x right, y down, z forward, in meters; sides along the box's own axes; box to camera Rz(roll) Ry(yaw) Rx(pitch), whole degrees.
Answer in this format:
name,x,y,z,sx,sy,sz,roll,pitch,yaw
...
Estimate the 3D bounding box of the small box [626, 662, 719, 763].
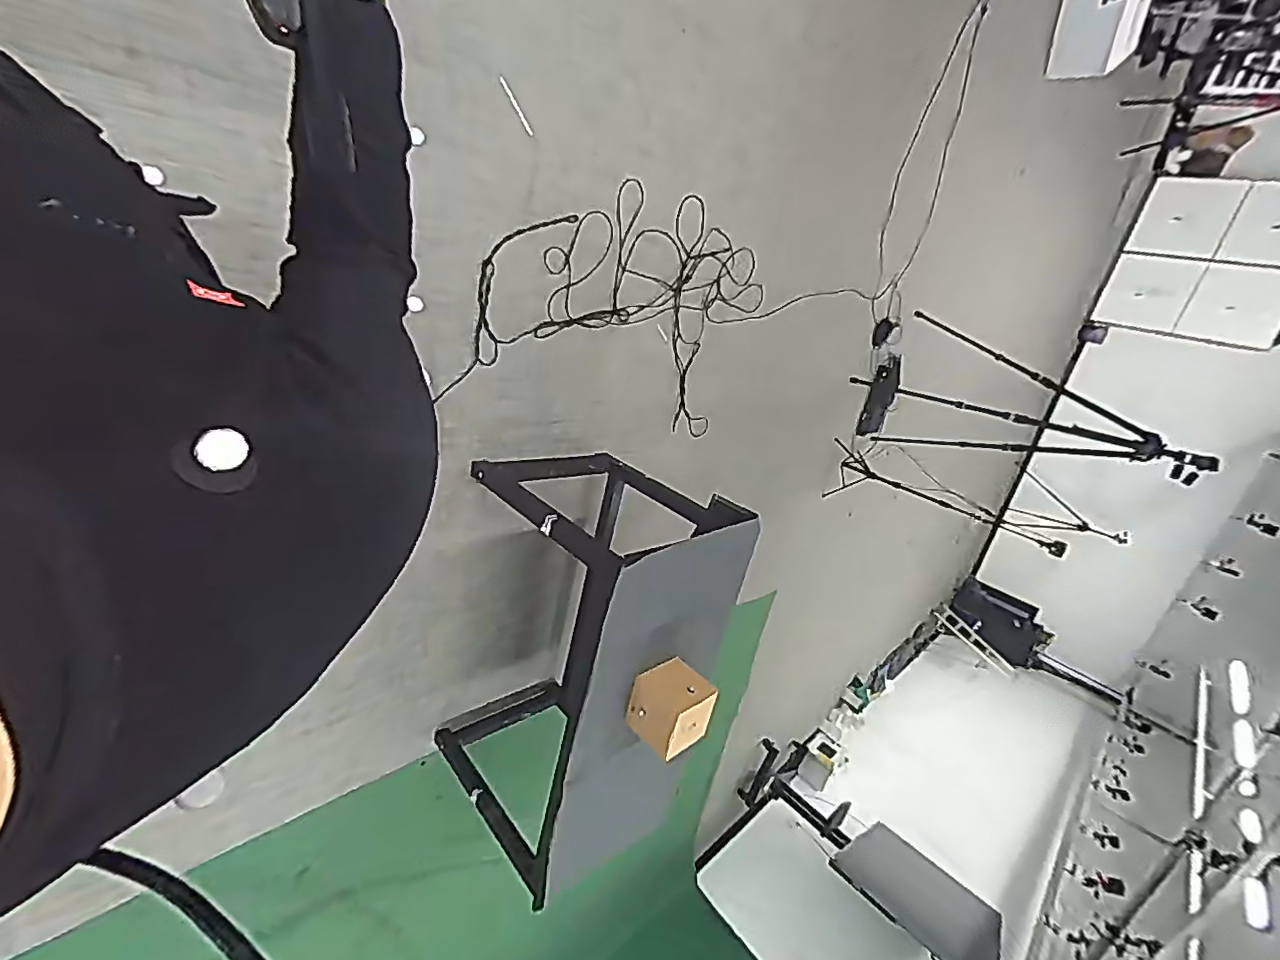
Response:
name,x,y,z,sx,sy,sz,roll,pitch,yaw
small box,0.089,0.645,1.529,0.179,0.176,0.168,-7,117,-45
